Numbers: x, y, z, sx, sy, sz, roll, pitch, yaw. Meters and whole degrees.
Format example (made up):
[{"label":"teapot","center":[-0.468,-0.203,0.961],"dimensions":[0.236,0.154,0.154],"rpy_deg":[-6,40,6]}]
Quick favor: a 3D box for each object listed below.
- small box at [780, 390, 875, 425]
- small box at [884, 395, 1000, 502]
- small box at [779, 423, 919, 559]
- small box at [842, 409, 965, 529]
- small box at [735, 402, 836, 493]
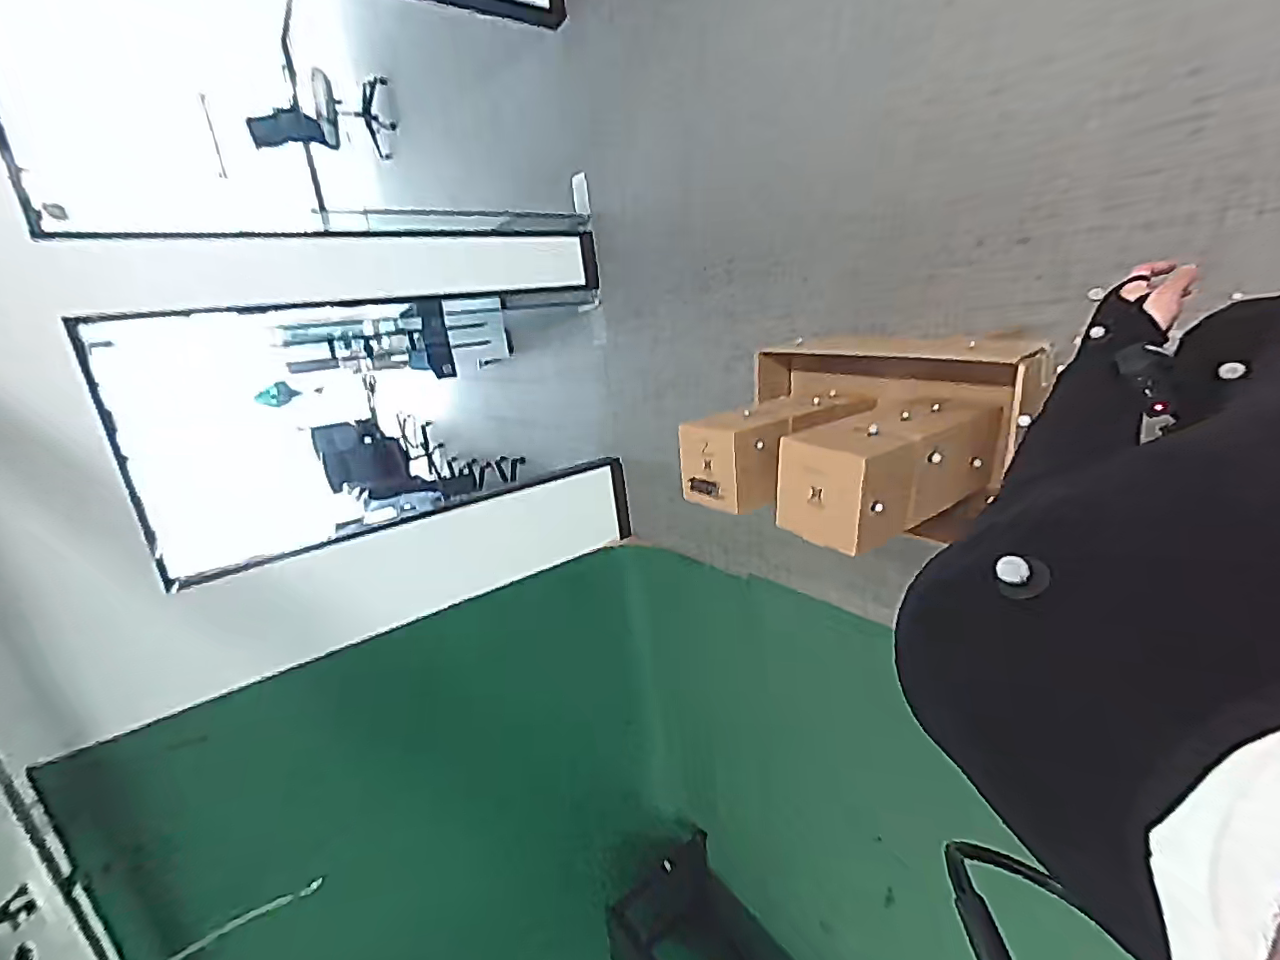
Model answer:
[{"label":"small box","center":[0.468,-0.125,1.353],"dimensions":[0.168,0.176,0.179],"rpy_deg":[18,120,50]},{"label":"small box","center":[0.630,-0.072,1.142],"dimensions":[0.168,0.176,0.179],"rpy_deg":[22,122,50]},{"label":"small box","center":[0.369,0.010,0.960],"dimensions":[0.168,0.176,0.179],"rpy_deg":[23,123,49]},{"label":"small box","center":[0.501,-0.032,1.047],"dimensions":[0.168,0.176,0.179],"rpy_deg":[23,124,50]},{"label":"small box","center":[0.341,-0.081,1.259],"dimensions":[0.168,0.176,0.179],"rpy_deg":[16,119,51]}]
